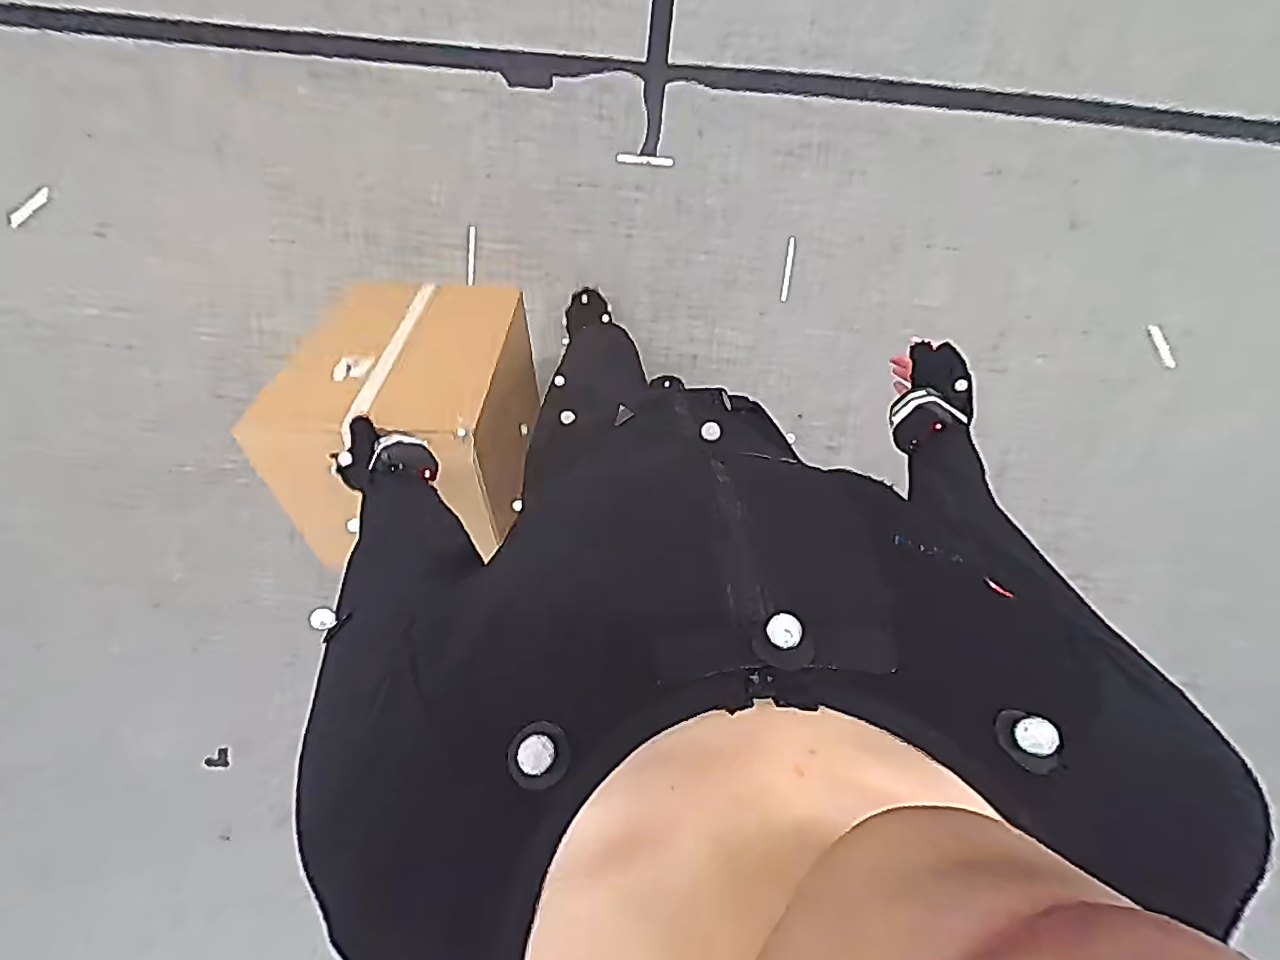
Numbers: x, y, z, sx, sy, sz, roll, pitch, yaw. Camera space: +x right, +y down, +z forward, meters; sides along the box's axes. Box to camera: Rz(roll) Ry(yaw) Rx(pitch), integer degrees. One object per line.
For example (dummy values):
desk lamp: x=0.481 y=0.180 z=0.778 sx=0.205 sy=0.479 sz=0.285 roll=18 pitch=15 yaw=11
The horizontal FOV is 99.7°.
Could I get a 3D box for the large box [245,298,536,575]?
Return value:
large box: x=-0.377 y=-0.084 z=0.960 sx=0.320 sy=0.408 sz=0.320 roll=0 pitch=135 yaw=1
